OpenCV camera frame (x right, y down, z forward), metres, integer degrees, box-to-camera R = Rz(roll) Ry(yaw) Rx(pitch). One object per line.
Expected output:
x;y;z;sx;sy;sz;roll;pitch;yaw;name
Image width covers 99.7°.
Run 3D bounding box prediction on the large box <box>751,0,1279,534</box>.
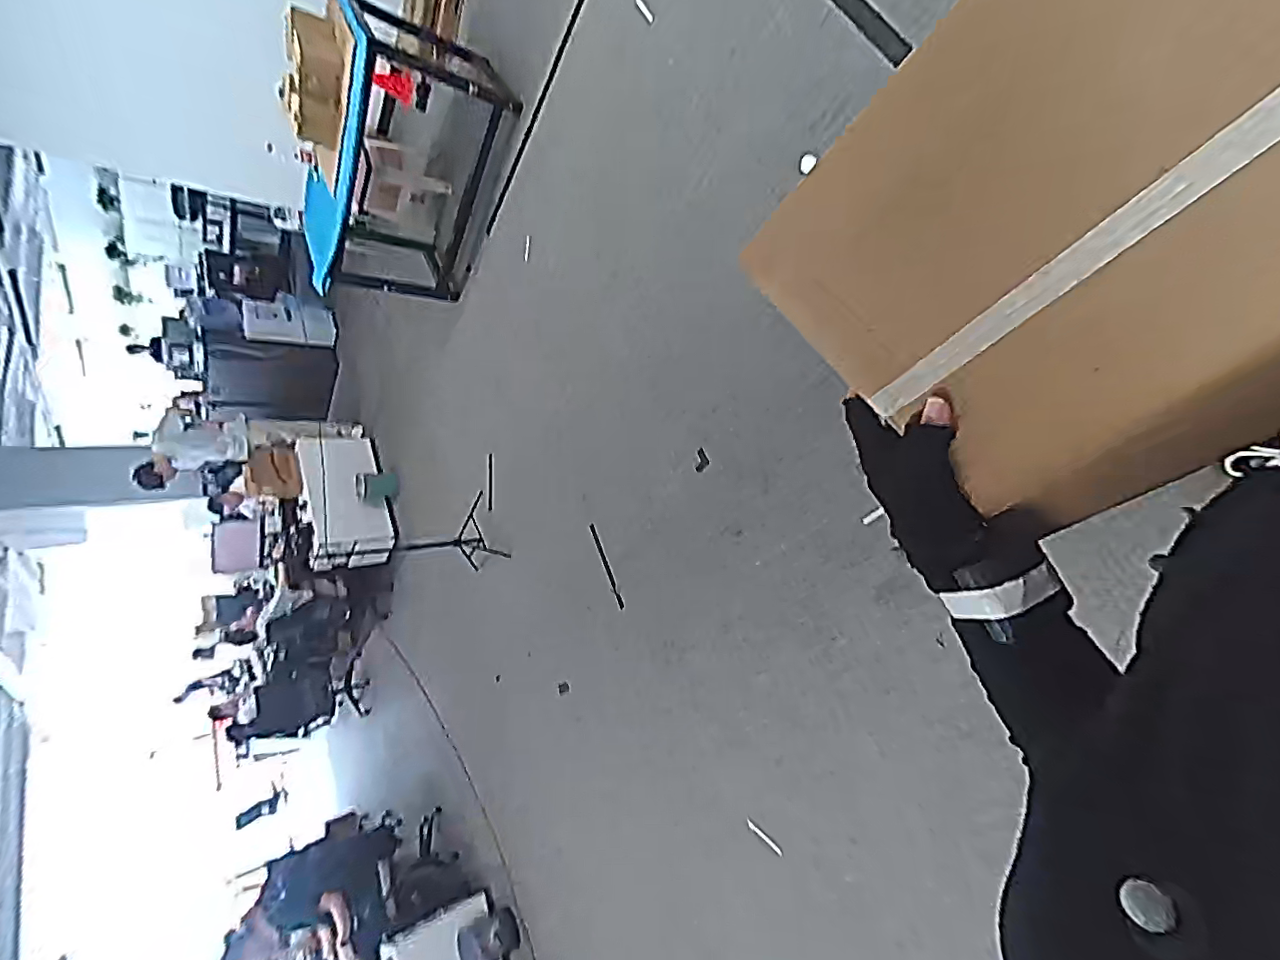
0.361;-0.235;0.418;0.320;0.320;0.408;44;129;-3;large box
